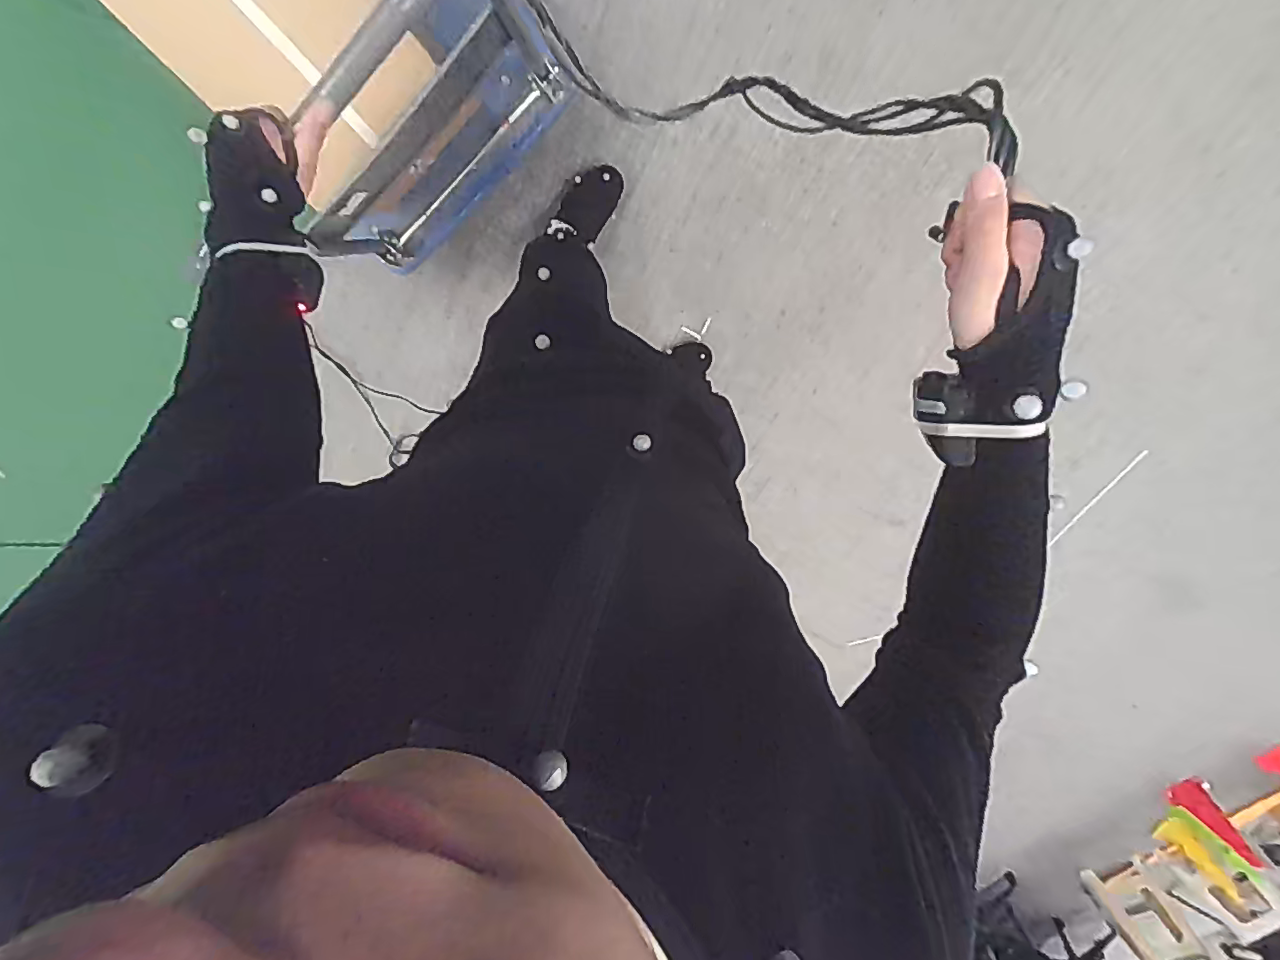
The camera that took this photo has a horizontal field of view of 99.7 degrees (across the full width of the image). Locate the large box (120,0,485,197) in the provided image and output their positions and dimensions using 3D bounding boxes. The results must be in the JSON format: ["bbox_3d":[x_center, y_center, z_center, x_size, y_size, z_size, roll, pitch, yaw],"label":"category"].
[{"bbox_3d":[-0.542,-0.759,0.917,0.320,0.320,0.408,-38,113,16],"label":"large box"}]
